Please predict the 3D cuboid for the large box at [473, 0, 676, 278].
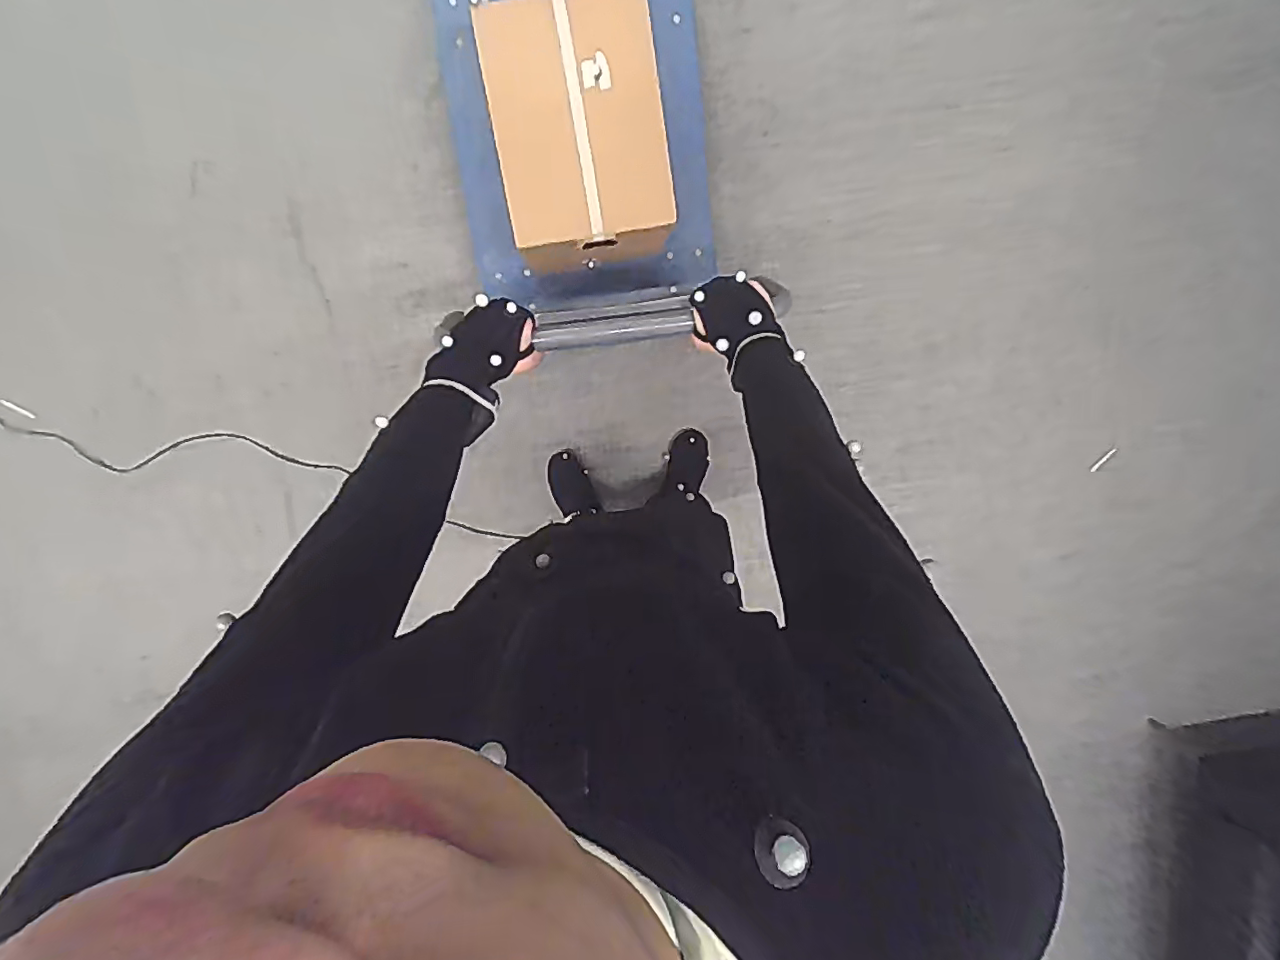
[{"bbox_3d":[-0.118,-0.683,1.146,0.320,0.320,0.408,-10,102,-1],"label":"large box"}]
